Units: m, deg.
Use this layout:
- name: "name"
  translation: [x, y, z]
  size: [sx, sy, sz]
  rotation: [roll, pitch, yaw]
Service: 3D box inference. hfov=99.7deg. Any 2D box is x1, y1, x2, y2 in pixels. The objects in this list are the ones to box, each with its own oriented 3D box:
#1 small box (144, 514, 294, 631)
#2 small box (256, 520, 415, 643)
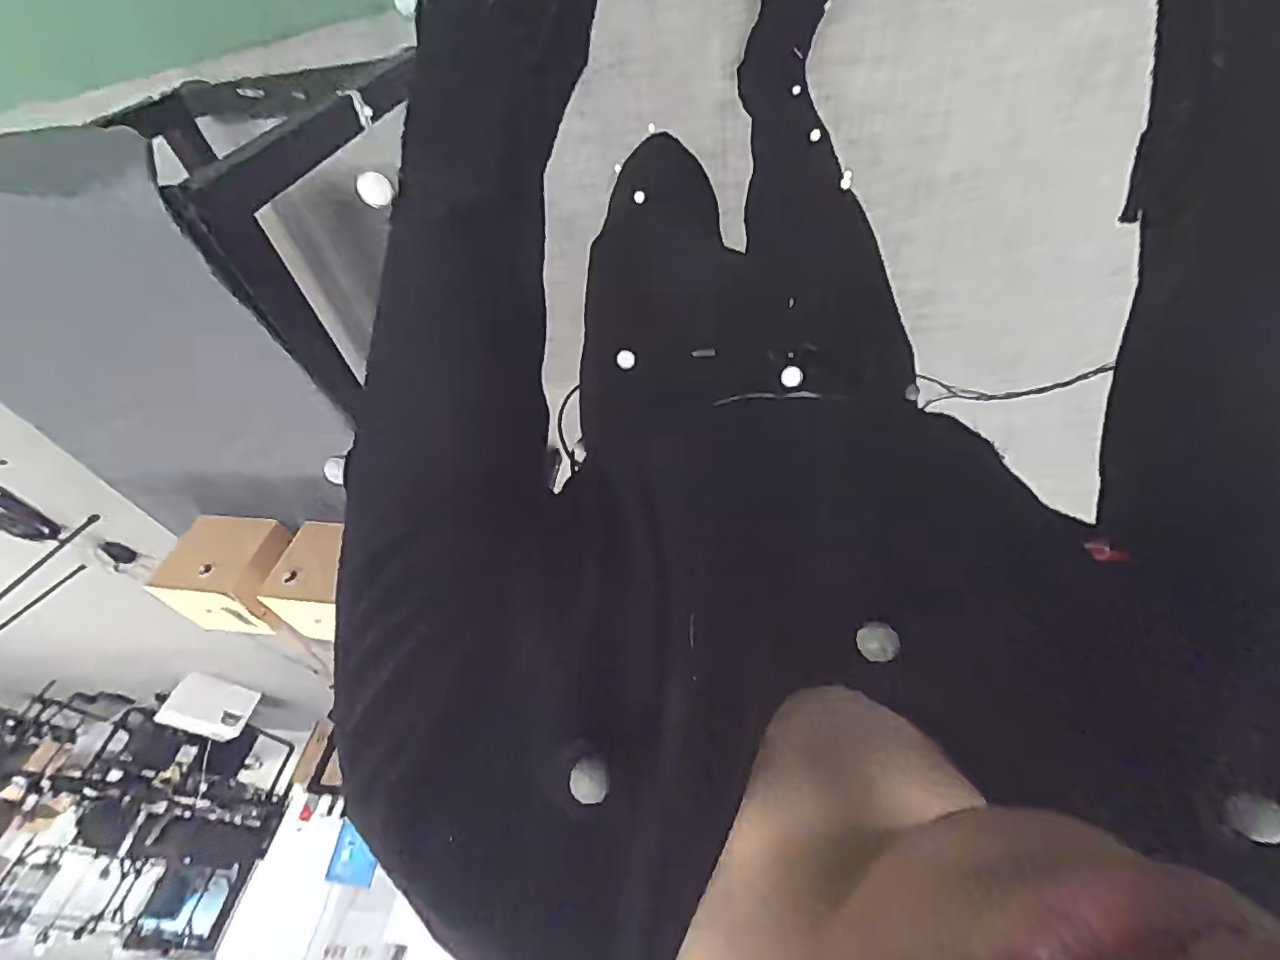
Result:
- name: "small box"
  translation: [-0.798, 0.182, 1.074]
  size: [0.179, 0.176, 0.168]
  rotation: [3, 139, 8]
- name: "small box"
  translation: [-0.572, 0.193, 1.043]
  size: [0.179, 0.176, 0.168]
  rotation: [3, 140, 8]
